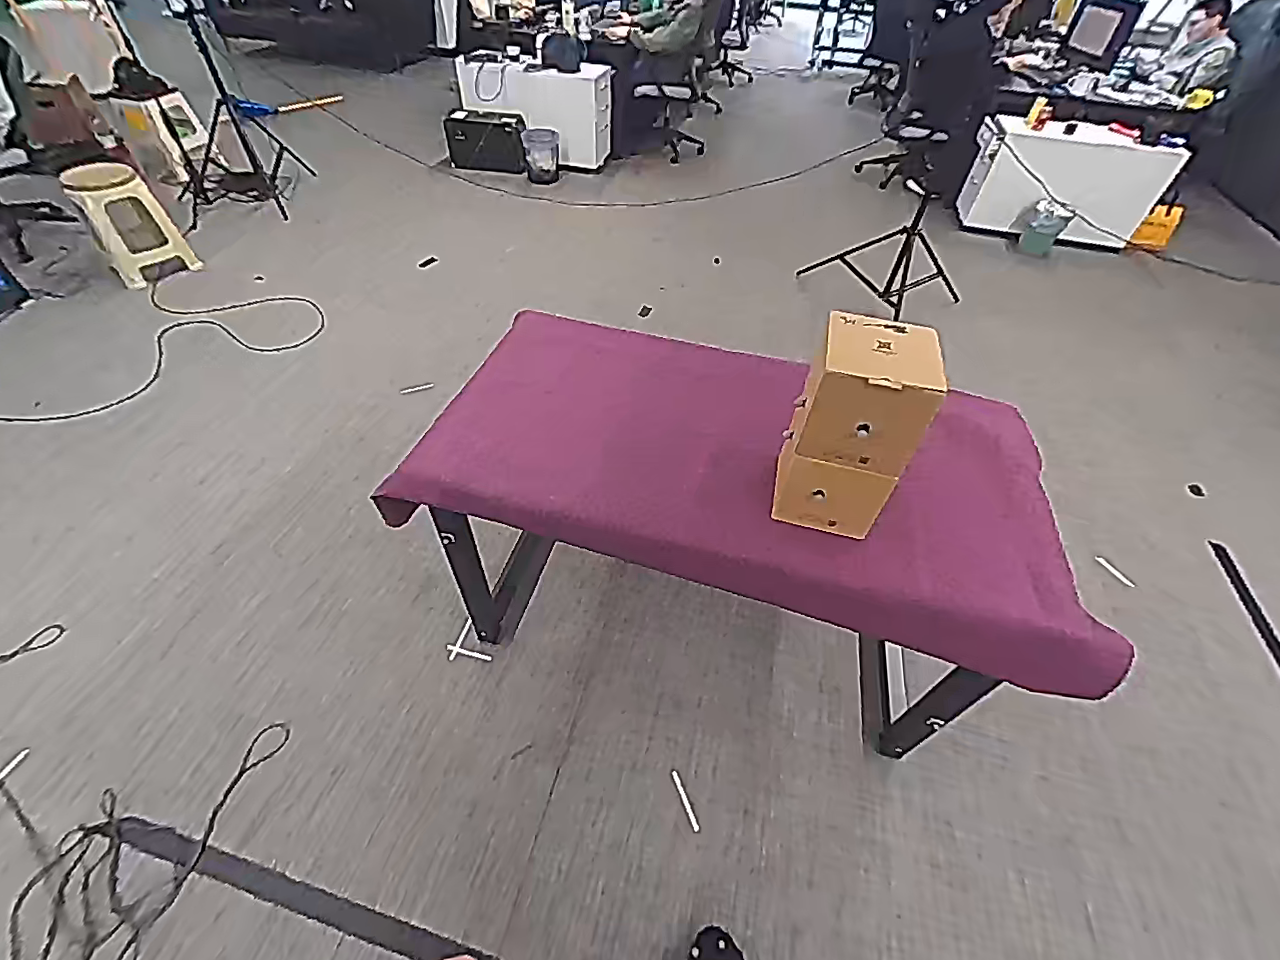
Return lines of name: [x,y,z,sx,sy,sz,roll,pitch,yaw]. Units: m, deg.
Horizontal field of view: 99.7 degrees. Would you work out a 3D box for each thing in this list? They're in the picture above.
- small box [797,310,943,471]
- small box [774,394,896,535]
small box: [0.355,-0.139,0.858,0.168,0.176,0.179,13,48,9]
small box: [0.346,-0.025,0.975,0.168,0.176,0.179,13,48,8]
